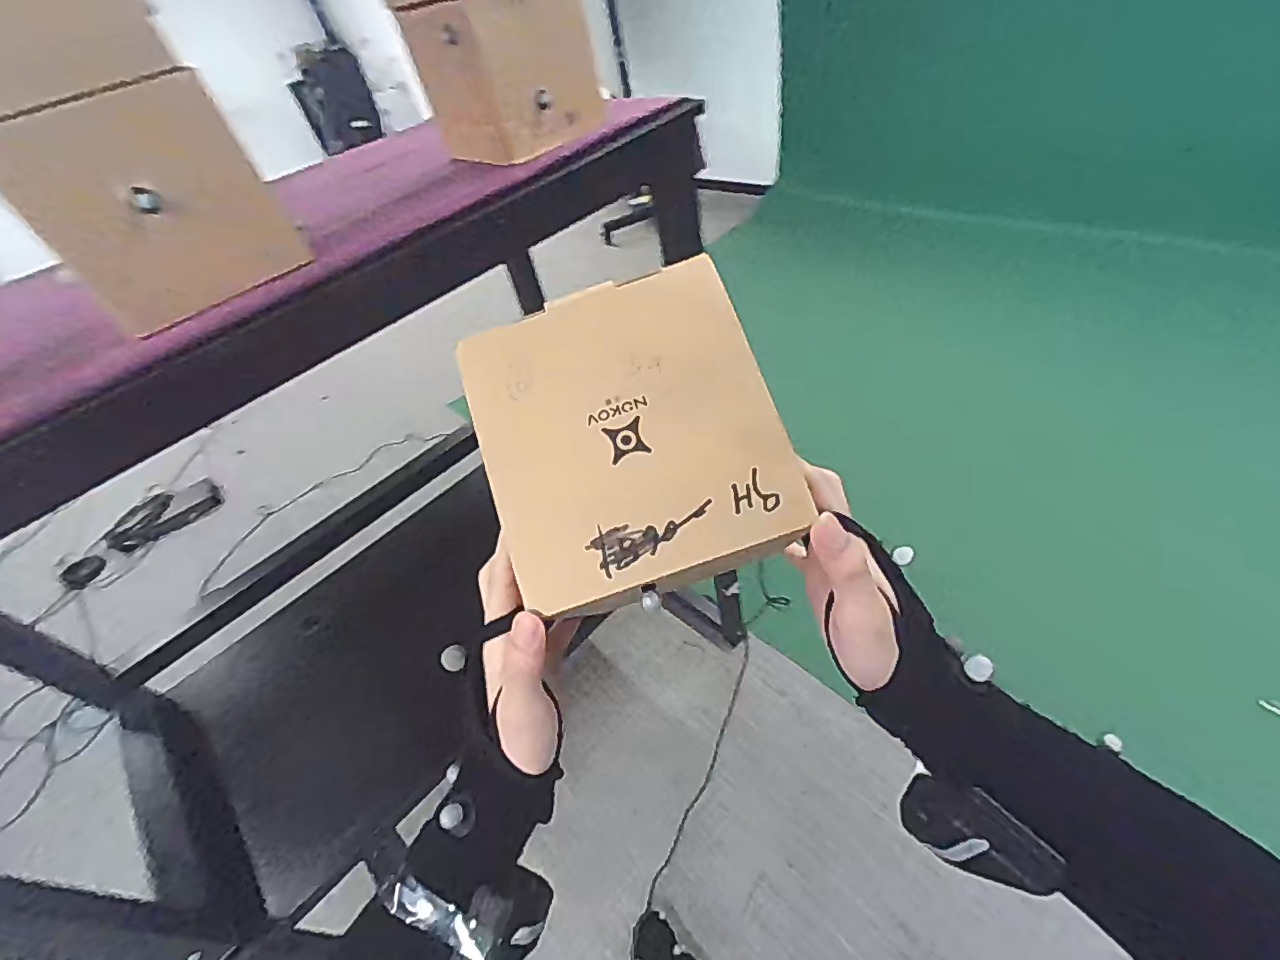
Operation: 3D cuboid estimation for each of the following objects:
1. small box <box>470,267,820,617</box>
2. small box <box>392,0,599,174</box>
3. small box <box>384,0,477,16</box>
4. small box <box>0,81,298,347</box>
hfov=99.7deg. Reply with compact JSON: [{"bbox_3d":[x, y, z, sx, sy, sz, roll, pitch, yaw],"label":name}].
[{"bbox_3d":[0.004,-0.008,0.387,0.168,0.176,0.179,-19,75,3],"label":"small box"},{"bbox_3d":[-0.180,-0.520,0.707,0.179,0.176,0.168,31,60,36],"label":"small box"},{"bbox_3d":[-0.211,-0.627,0.585,0.168,0.176,0.179,31,61,36],"label":"small box"},{"bbox_3d":[-0.470,-0.258,0.524,0.179,0.176,0.168,-41,48,-23],"label":"small box"}]
